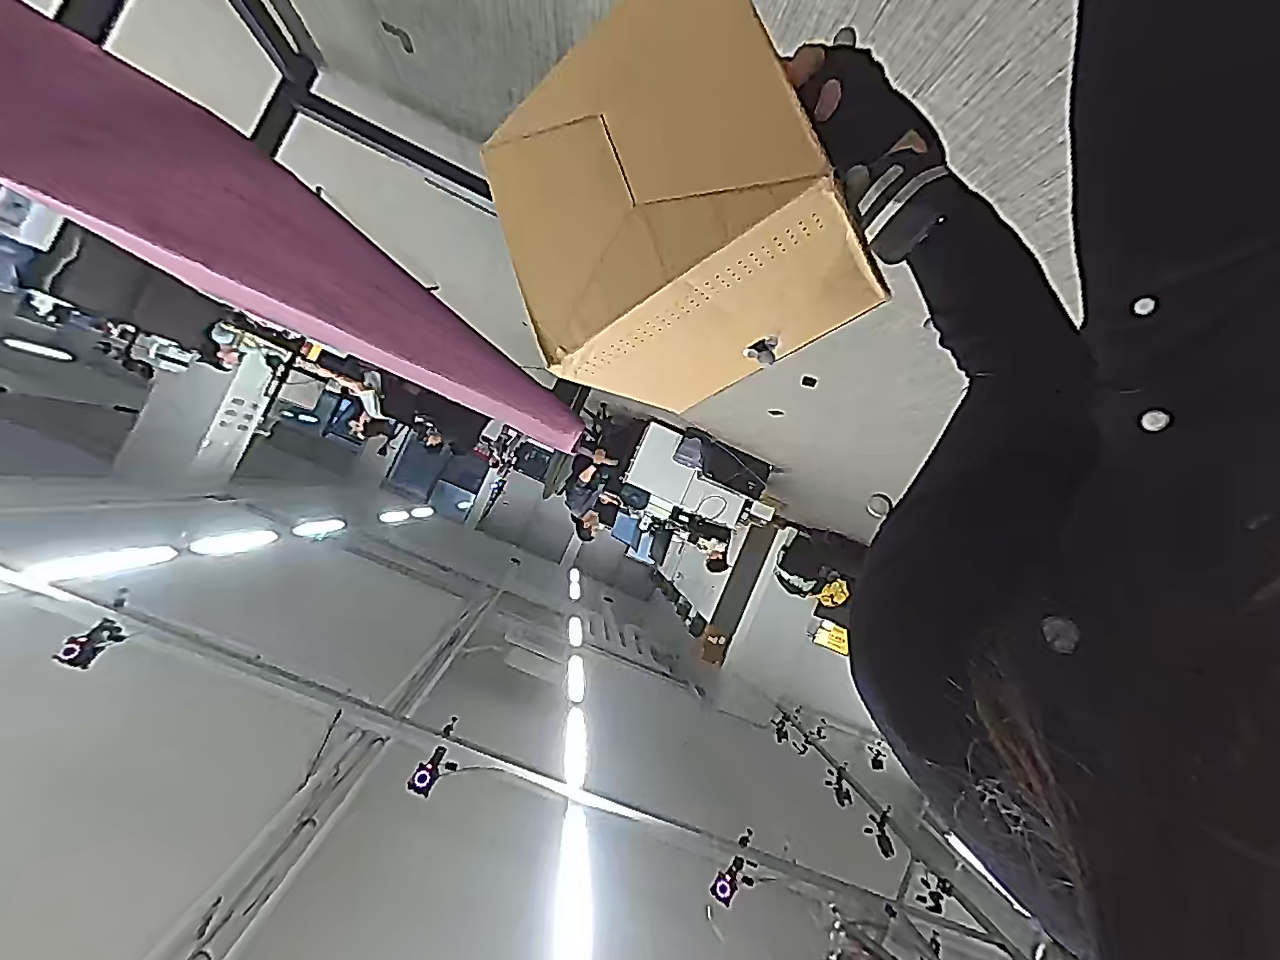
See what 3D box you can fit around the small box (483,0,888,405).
[{"bbox_3d":[0.029,-0.170,0.354,0.179,0.168,0.176,-27,162,31],"label":"small box"}]
